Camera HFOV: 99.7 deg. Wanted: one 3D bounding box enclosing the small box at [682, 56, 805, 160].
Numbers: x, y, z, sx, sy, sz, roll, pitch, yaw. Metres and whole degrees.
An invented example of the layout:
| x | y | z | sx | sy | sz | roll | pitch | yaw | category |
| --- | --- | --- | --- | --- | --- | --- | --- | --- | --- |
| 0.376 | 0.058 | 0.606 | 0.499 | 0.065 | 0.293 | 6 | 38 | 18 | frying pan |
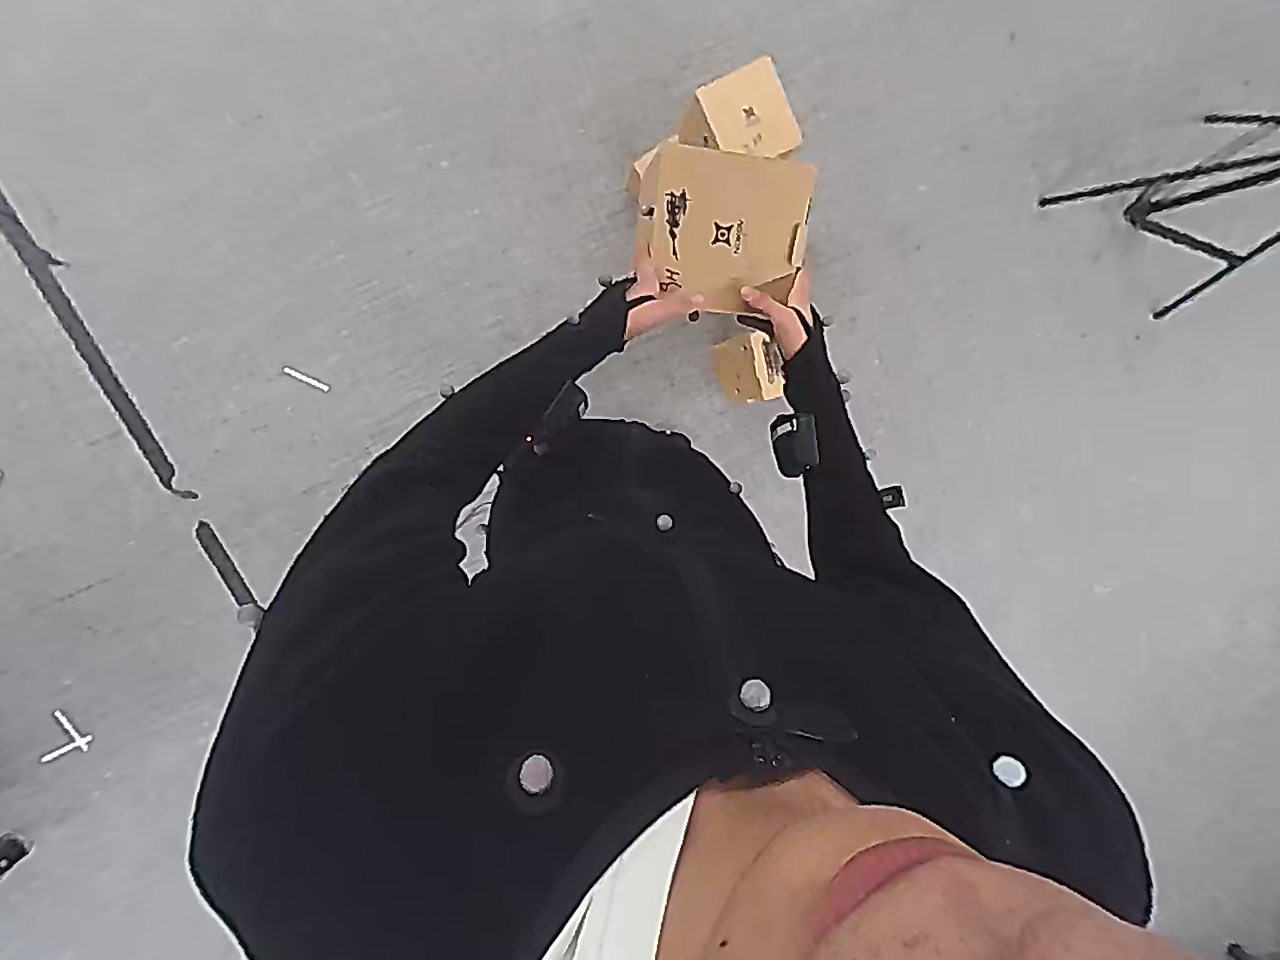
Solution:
| x | y | z | sx | sy | sz | roll | pitch | yaw | category |
| --- | --- | --- | --- | --- | --- | --- | --- | --- | --- |
| 0.205 | -0.712 | 1.120 | 0.168 | 0.176 | 0.179 | -28 | 102 | -3 | small box |

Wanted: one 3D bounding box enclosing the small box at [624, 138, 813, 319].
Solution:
| x | y | z | sx | sy | sz | roll | pitch | yaw | category |
| --- | --- | --- | --- | --- | --- | --- | --- | --- | --- |
| 0.082 | -0.296 | 0.666 | 0.179 | 0.176 | 0.168 | 3 | 109 | -9 | small box |

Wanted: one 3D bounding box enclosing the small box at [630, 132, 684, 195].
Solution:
| x | y | z | sx | sy | sz | roll | pitch | yaw | category |
| --- | --- | --- | --- | --- | --- | --- | --- | --- | --- |
| 0.090 | -0.777 | 1.428 | 0.179 | 0.176 | 0.168 | -35 | 102 | -1 | small box |

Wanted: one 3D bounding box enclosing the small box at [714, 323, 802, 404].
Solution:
| x | y | z | sx | sy | sz | roll | pitch | yaw | category |
| --- | --- | --- | --- | --- | --- | --- | --- | --- | --- |
| 0.330 | -0.330 | 1.545 | 0.168 | 0.176 | 0.179 | -23 | 104 | -3 | small box |
